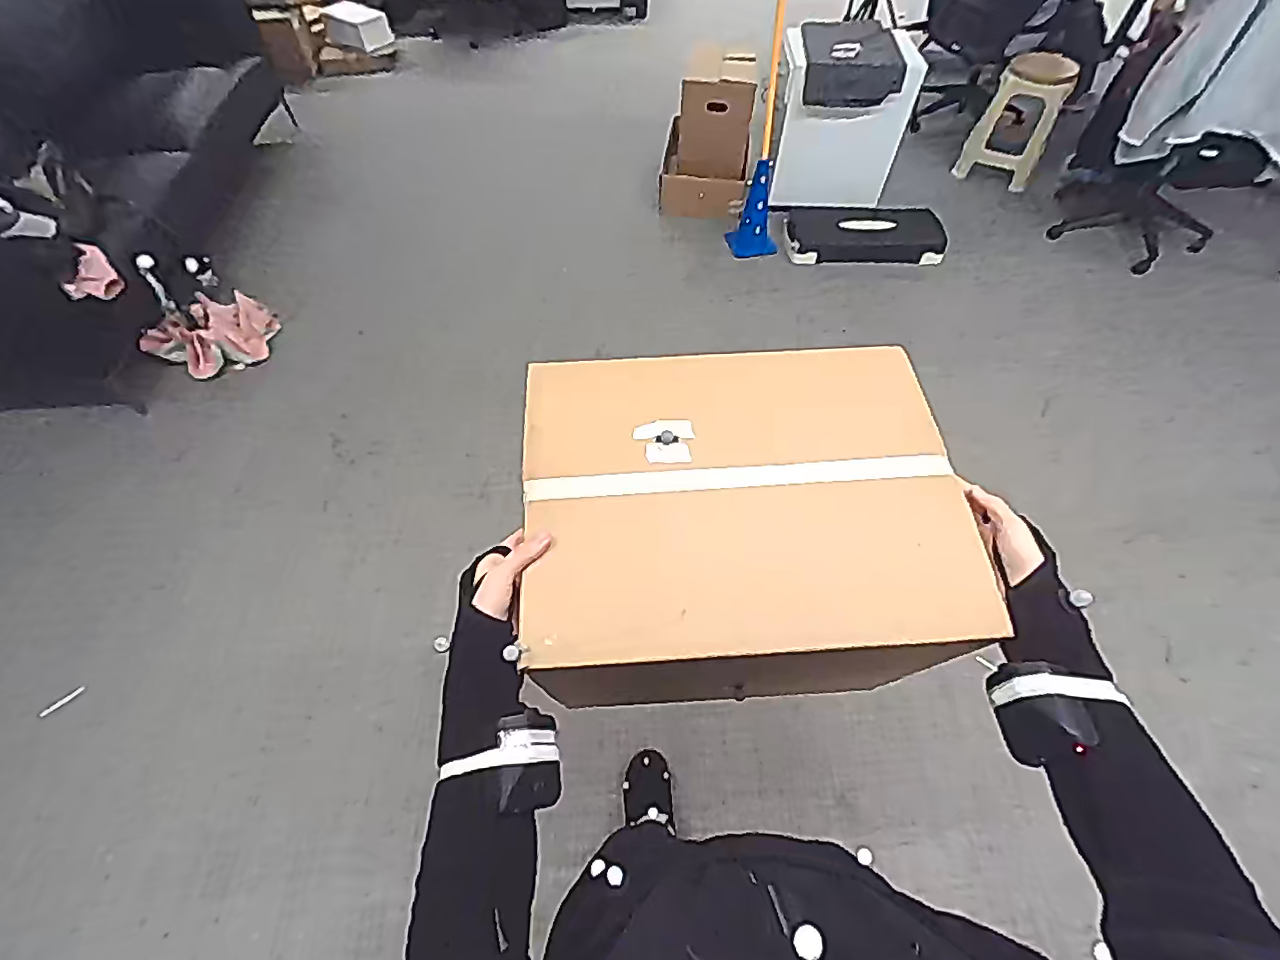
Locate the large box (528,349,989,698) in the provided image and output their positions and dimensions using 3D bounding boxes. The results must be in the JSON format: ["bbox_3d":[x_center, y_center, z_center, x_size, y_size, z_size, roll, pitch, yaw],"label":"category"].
[{"bbox_3d":[0.097,0.074,0.657,0.408,0.320,0.320,-4,61,-1],"label":"large box"}]
